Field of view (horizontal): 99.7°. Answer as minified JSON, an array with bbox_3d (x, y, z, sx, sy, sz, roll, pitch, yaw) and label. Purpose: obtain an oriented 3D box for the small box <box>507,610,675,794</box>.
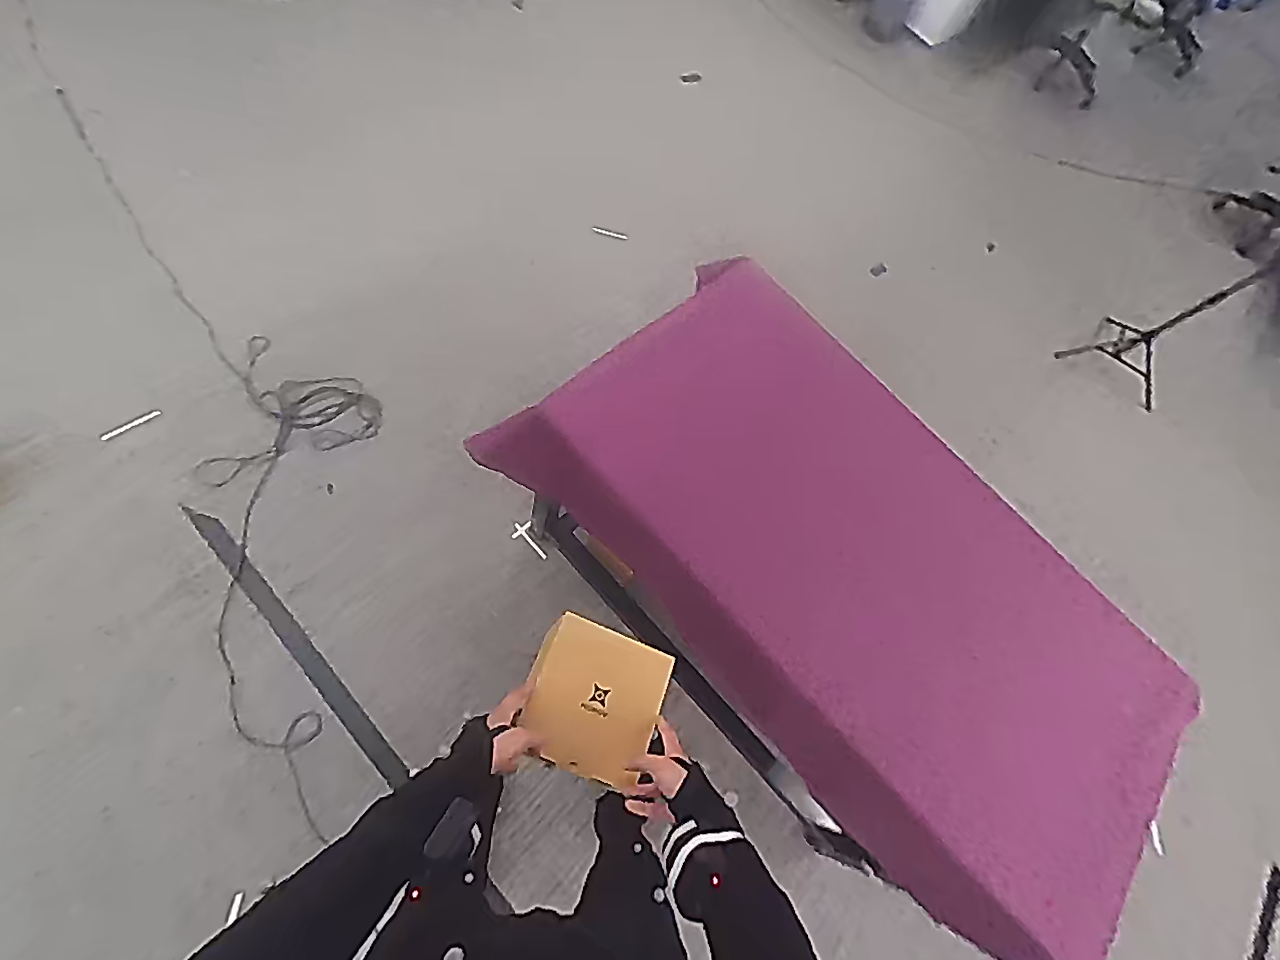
[{"bbox_3d":[-0.075,0.308,0.754,0.168,0.176,0.179,25,61,-6],"label":"small box"}]
